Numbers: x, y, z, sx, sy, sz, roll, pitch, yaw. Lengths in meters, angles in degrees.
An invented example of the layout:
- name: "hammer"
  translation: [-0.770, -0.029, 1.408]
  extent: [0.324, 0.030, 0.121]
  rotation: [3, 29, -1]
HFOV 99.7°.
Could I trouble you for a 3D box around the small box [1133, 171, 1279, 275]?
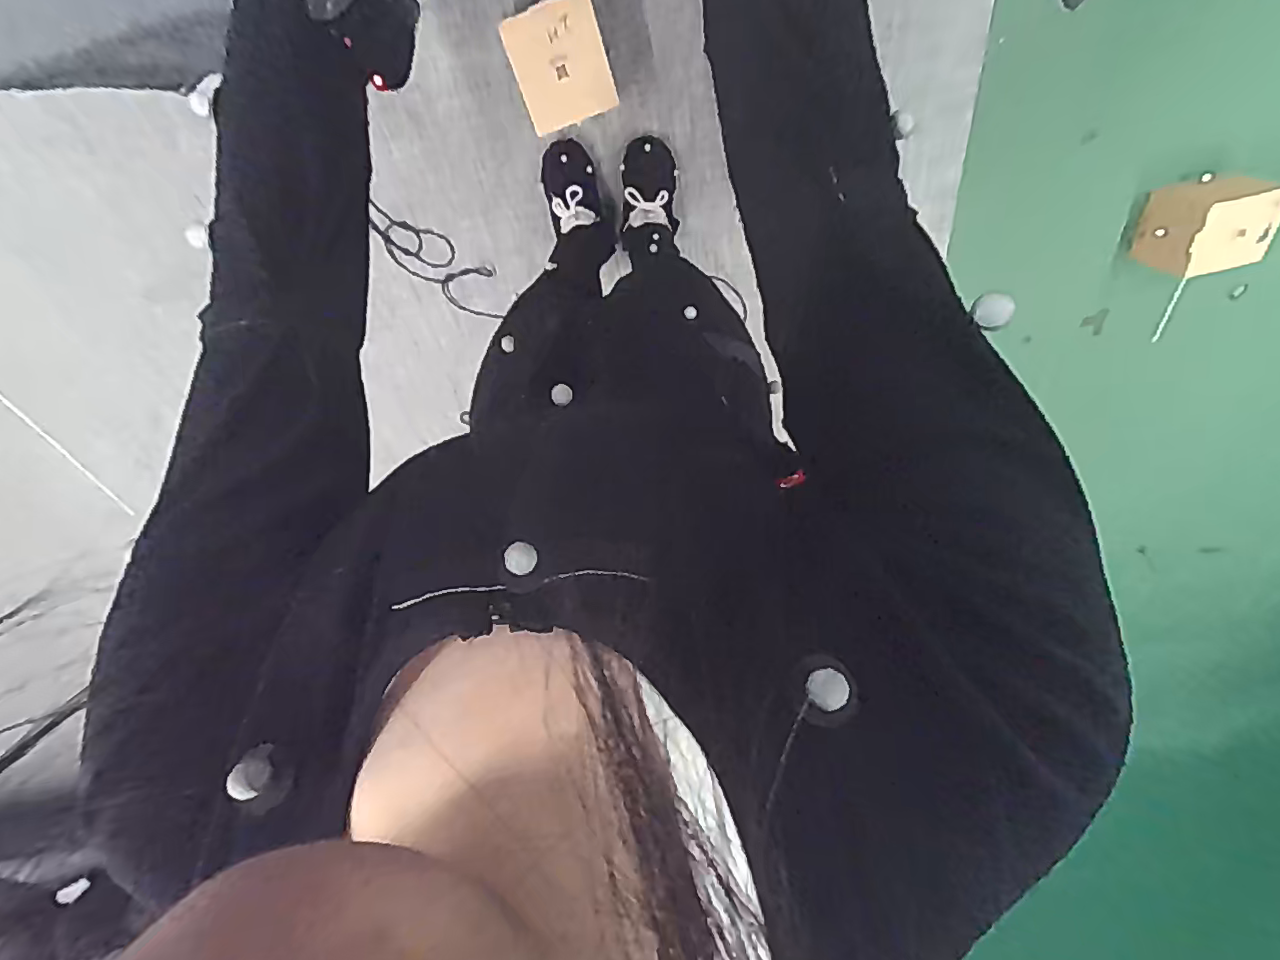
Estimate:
- name: "small box"
  translation: [1.328, -0.605, 1.269]
  extent: [0.179, 0.176, 0.168]
  rotation: [-10, 130, 6]
